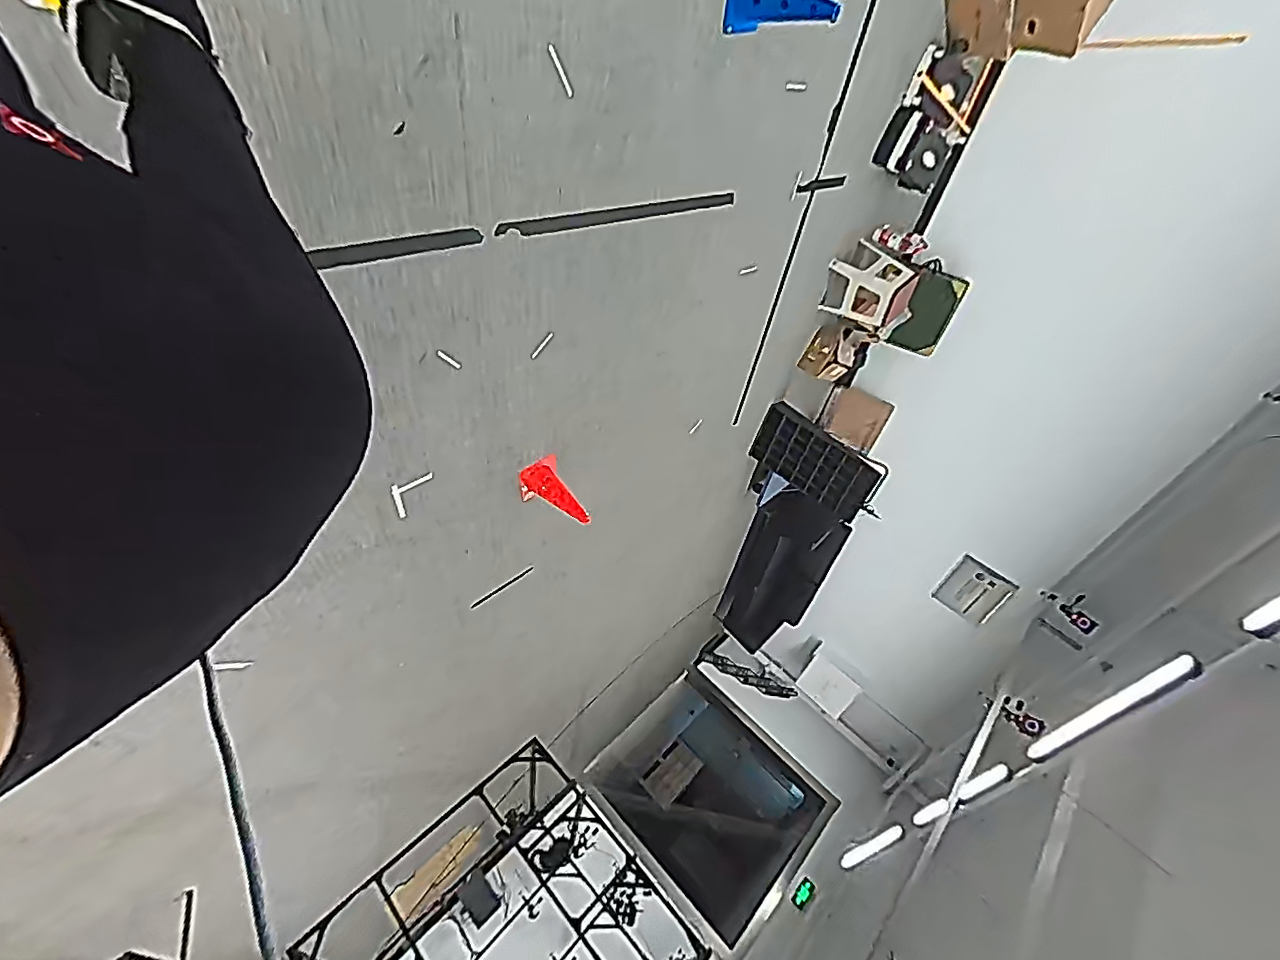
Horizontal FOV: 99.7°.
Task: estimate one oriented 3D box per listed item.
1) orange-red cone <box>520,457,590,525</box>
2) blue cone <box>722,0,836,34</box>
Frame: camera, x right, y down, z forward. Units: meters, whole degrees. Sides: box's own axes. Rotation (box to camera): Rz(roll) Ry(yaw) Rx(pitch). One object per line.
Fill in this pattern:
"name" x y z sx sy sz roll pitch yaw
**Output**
"orange-red cone" -0.360 0.089 2.460 0.199 0.360 0.198 -35 150 -34
"blue cone" 0.467 -1.538 1.751 0.193 0.380 0.192 -34 149 -32
